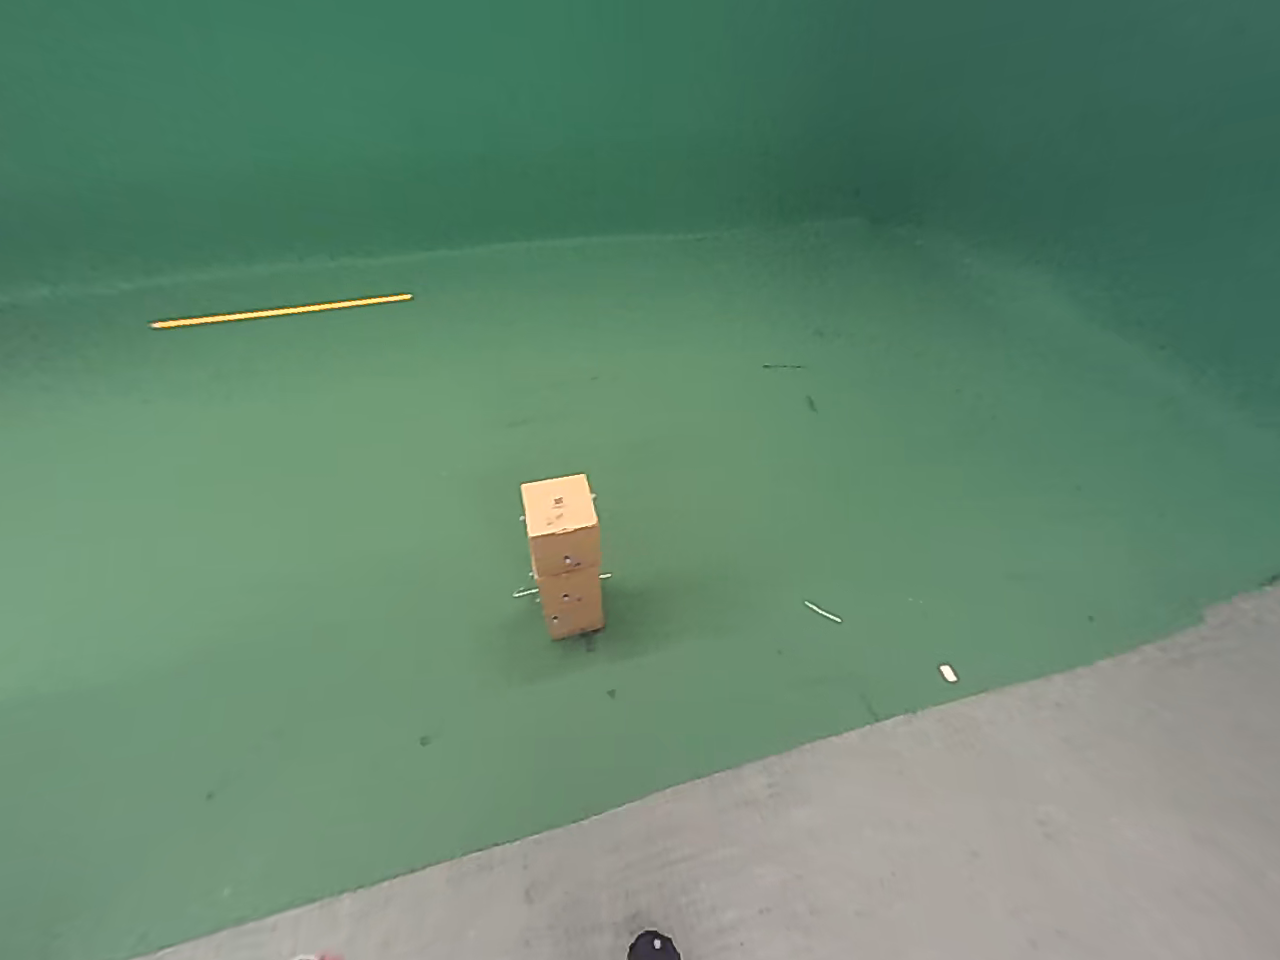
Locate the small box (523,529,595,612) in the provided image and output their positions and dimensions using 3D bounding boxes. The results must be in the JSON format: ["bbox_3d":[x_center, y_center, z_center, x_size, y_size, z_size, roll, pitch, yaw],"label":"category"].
[{"bbox_3d":[-0.222,0.234,1.483,0.168,0.176,0.179,-10,48,-13],"label":"small box"}]

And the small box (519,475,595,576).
[{"bbox_3d":[-0.210,0.115,1.369,0.168,0.176,0.179,-9,48,-12],"label":"small box"}]
